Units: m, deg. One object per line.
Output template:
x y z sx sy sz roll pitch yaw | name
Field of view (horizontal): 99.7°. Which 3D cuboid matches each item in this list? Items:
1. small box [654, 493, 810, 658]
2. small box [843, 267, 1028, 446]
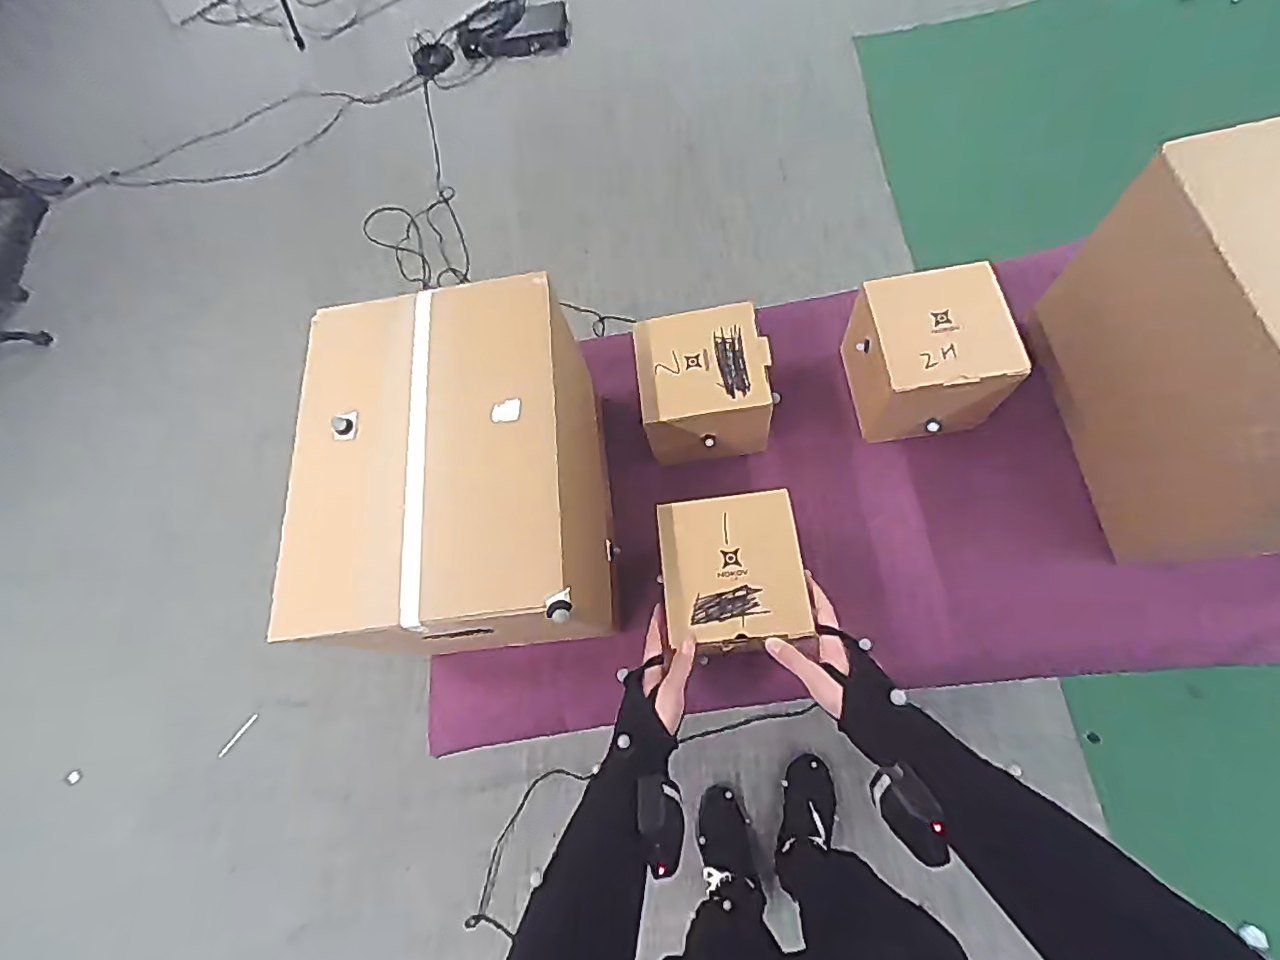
0.116 0.135 0.709 0.168 0.176 0.179 -8 66 6 | small box
0.403 -0.169 0.775 0.168 0.176 0.179 -8 69 8 | small box
